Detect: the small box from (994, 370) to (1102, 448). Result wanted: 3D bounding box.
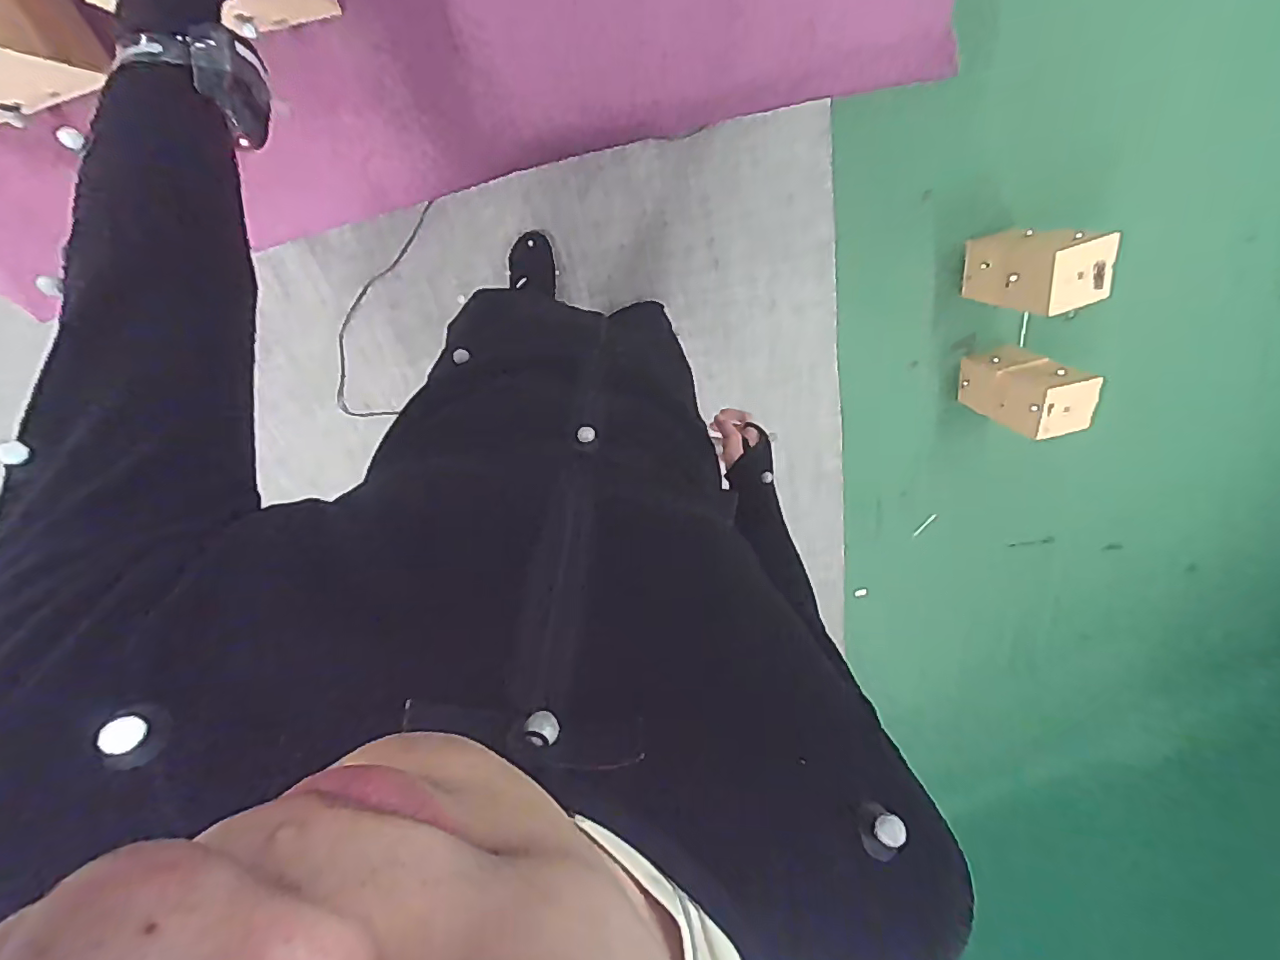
[{"bbox_3d":[1.221,-0.220,1.629,0.179,0.176,0.168,-13,120,-5],"label":"small box"}]

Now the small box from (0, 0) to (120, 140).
[{"bbox_3d":[-0.639,-0.423,0.471,0.168,0.176,0.179,-20,120,-1],"label":"small box"}]

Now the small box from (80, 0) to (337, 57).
[{"bbox_3d":[-0.405,-0.511,0.475,0.168,0.176,0.179,-16,120,-4],"label":"small box"}]

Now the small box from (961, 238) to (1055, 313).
[{"bbox_3d":[1.081,-0.604,1.586,0.179,0.176,0.168,-16,119,-4],"label":"small box"}]

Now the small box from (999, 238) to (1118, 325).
[{"bbox_3d":[1.104,-0.534,1.438,0.179,0.176,0.168,-18,119,-1],"label":"small box"}]
